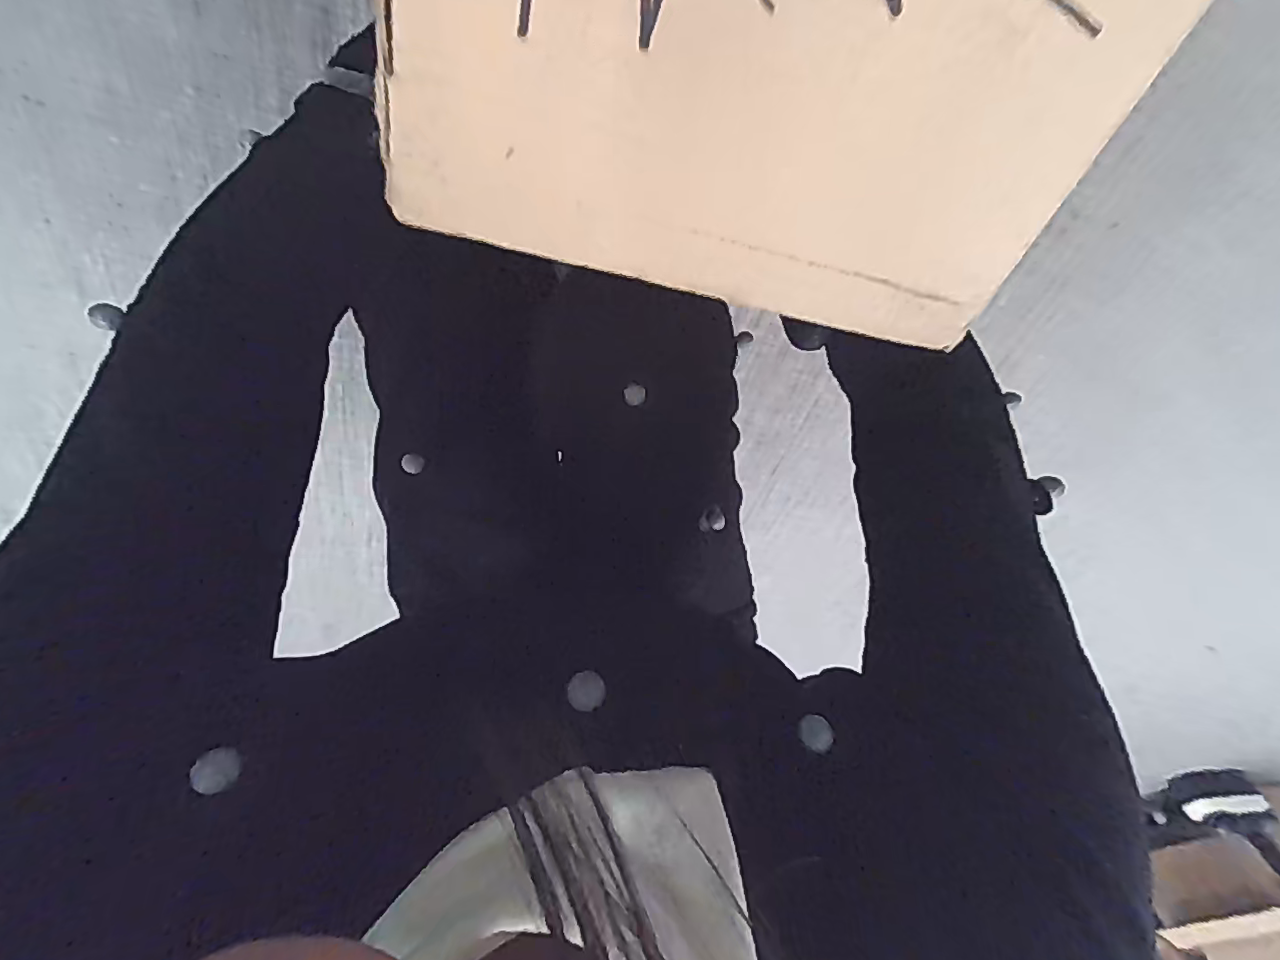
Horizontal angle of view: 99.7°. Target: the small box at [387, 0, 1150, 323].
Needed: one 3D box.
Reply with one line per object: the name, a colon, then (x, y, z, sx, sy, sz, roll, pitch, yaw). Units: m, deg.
small box: (0.034, -0.180, 0.173, 0.179, 0.176, 0.168, 9, 132, -13)
